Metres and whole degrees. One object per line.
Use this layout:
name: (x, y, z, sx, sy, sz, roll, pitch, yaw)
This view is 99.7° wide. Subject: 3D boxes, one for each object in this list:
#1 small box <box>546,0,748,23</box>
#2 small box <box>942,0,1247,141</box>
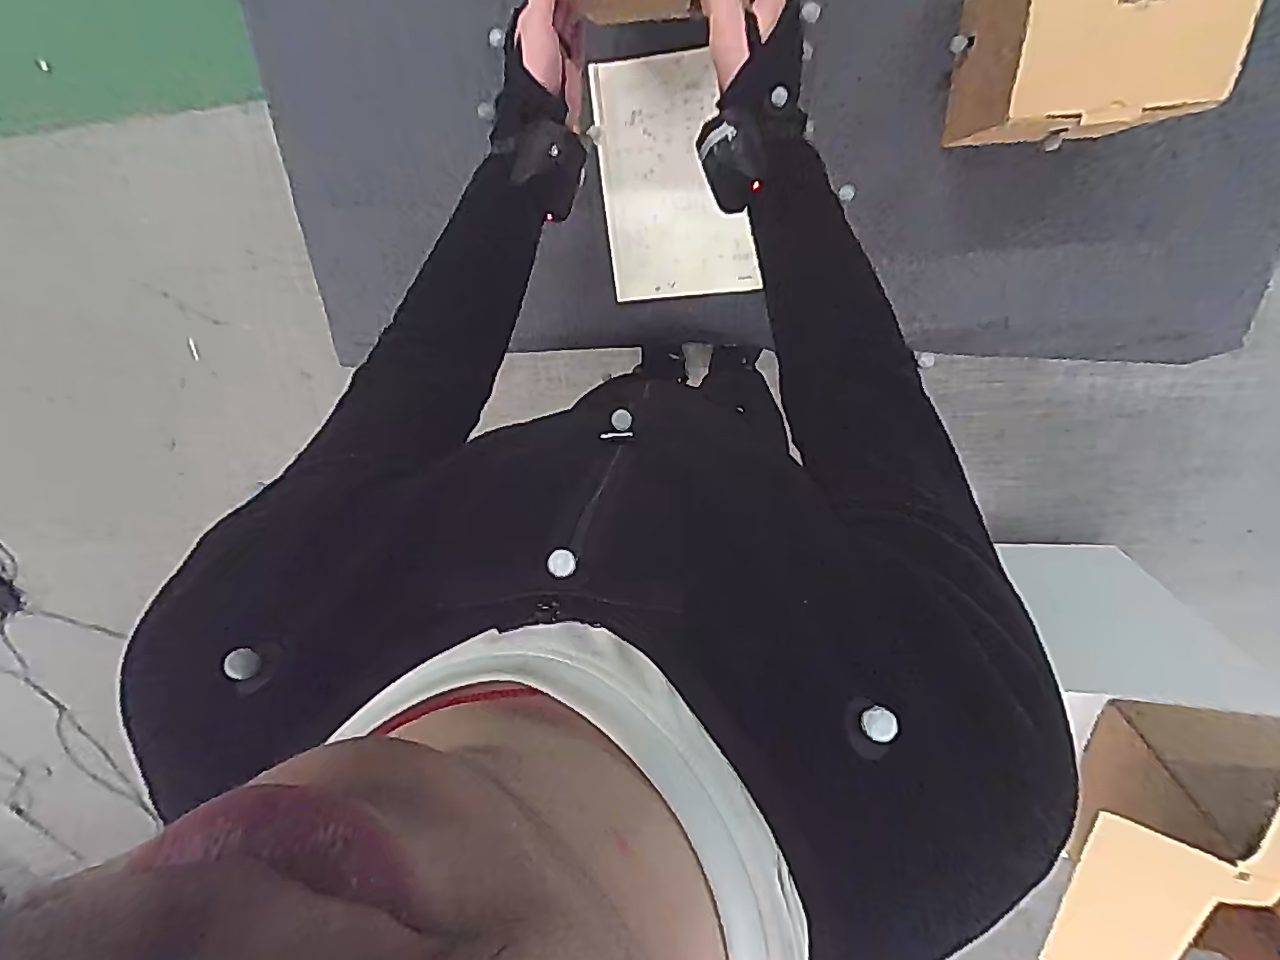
small box: (0.010, -0.495, 0.438, 0.168, 0.176, 0.179, 5, 122, 10)
small box: (0.404, -0.423, 0.501, 0.168, 0.176, 0.179, 0, 117, 8)
